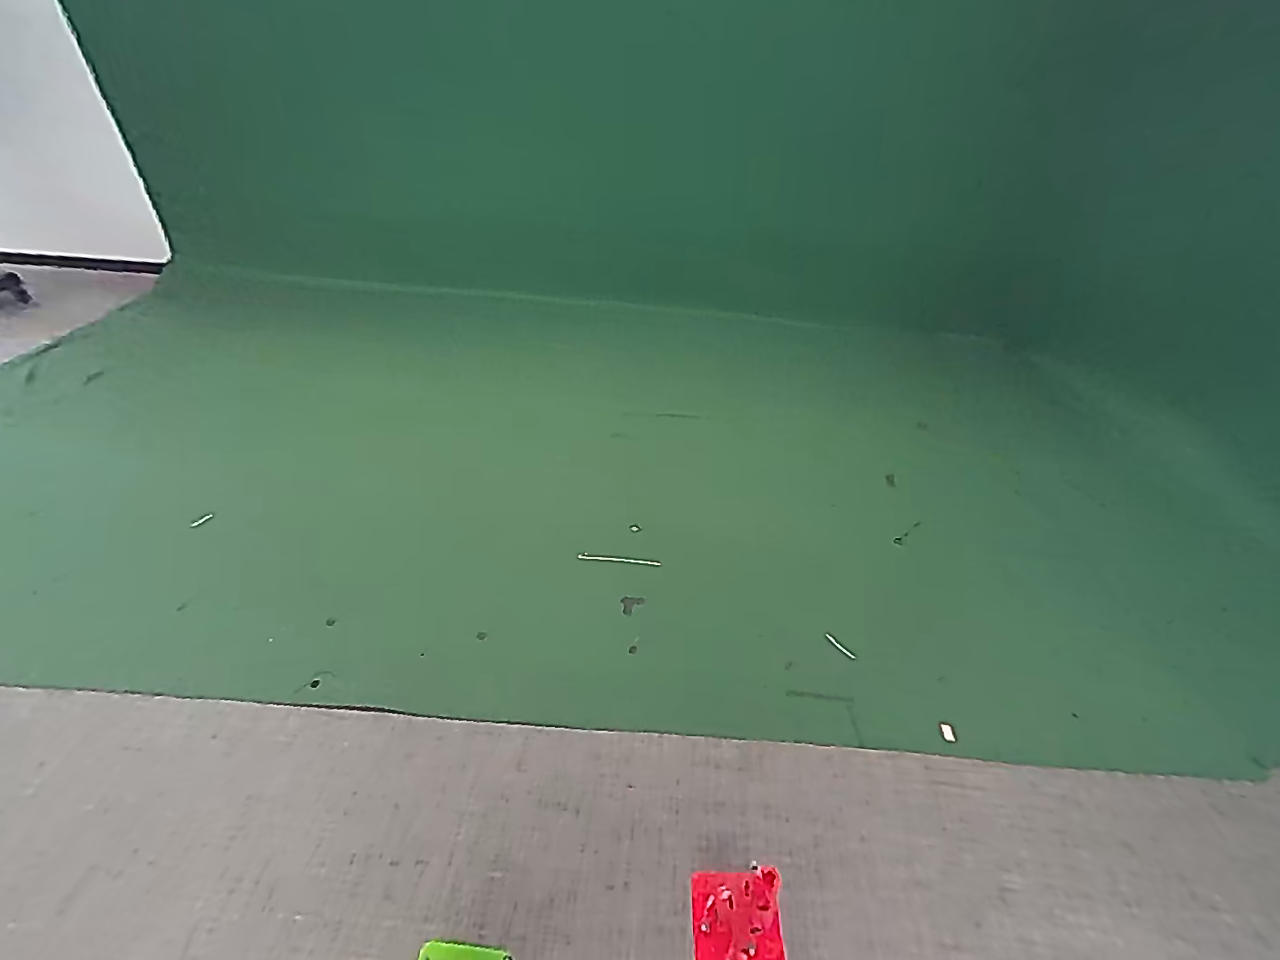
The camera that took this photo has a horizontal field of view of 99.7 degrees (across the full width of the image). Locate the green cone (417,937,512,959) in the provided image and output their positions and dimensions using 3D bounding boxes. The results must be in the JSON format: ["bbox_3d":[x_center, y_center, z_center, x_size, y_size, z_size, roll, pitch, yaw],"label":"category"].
[{"bbox_3d":[-0.365,0.924,0.971,0.200,0.368,0.202,6,40,2],"label":"green cone"}]
